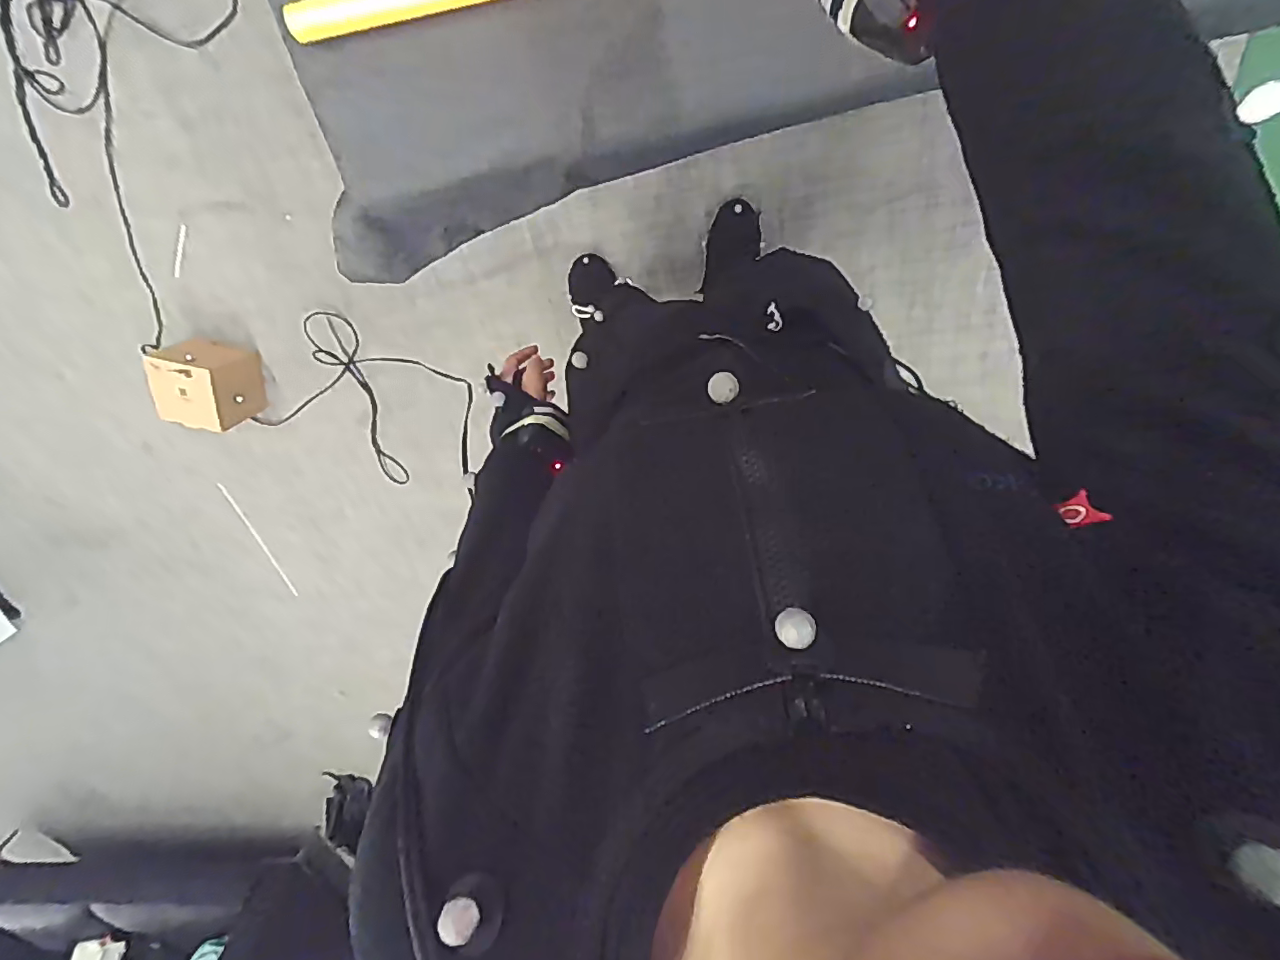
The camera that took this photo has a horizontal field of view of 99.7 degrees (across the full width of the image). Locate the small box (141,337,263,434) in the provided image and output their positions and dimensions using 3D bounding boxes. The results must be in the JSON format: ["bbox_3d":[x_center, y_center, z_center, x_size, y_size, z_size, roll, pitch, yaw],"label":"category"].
[{"bbox_3d":[-1.115,-0.247,1.394,0.168,0.176,0.179,13,121,-1],"label":"small box"}]
